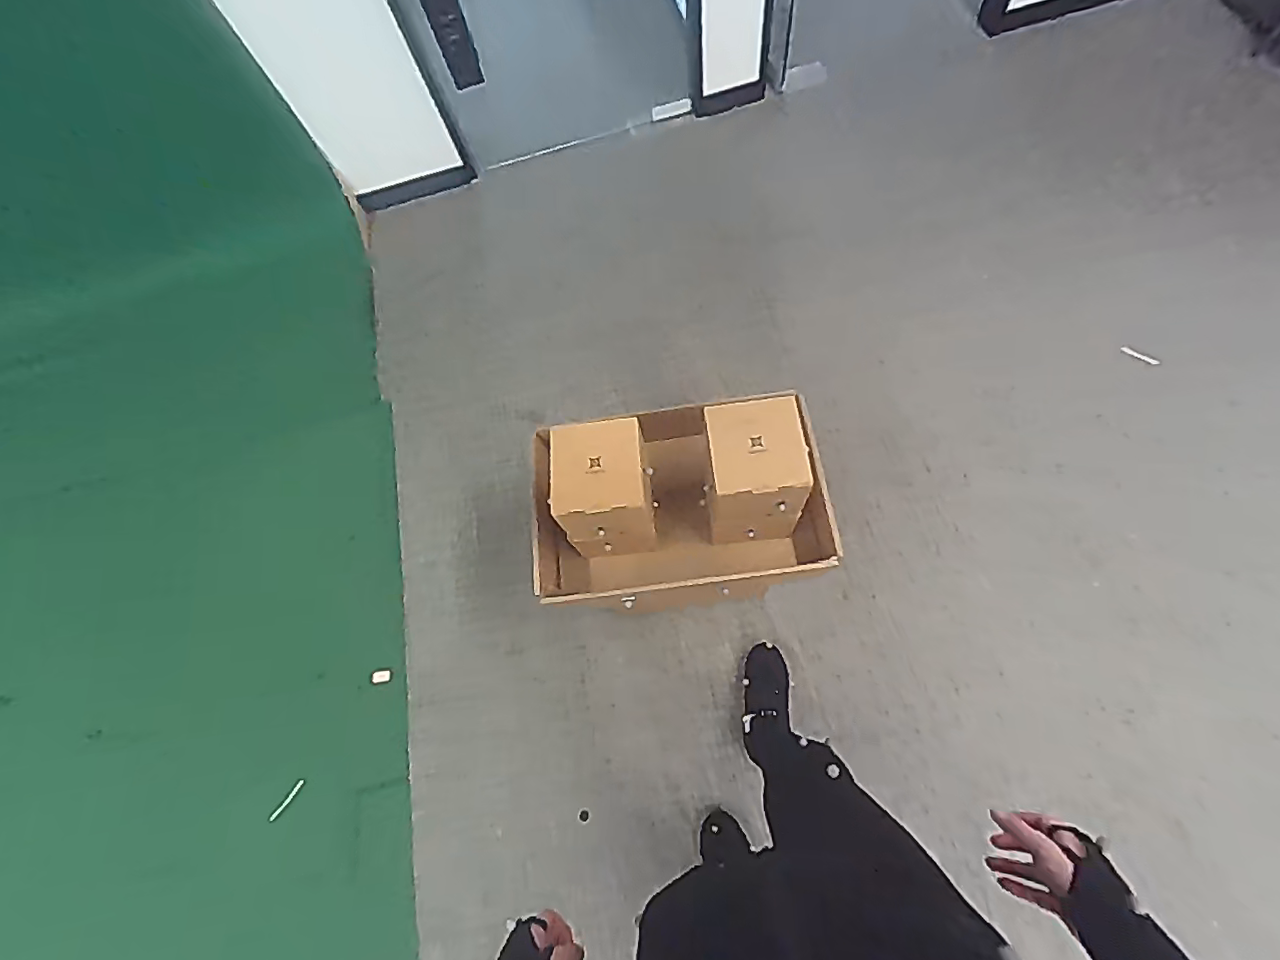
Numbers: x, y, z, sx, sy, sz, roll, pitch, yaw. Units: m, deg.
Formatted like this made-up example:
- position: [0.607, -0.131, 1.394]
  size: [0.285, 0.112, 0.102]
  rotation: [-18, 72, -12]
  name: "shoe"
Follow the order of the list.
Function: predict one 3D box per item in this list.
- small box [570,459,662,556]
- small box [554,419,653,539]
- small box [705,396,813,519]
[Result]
- position: [-0.049, 0.067, 1.194]
  size: [0.179, 0.176, 0.168]
  rotation: [-5, 68, 6]
  name: "small box"
- position: [-0.066, 0.003, 1.044]
  size: [0.168, 0.176, 0.179]
  rotation: [-6, 68, 5]
  name: "small box"
- position: [0.215, -0.032, 1.015]
  size: [0.168, 0.176, 0.179]
  rotation: [-6, 67, 4]
  name: "small box"
